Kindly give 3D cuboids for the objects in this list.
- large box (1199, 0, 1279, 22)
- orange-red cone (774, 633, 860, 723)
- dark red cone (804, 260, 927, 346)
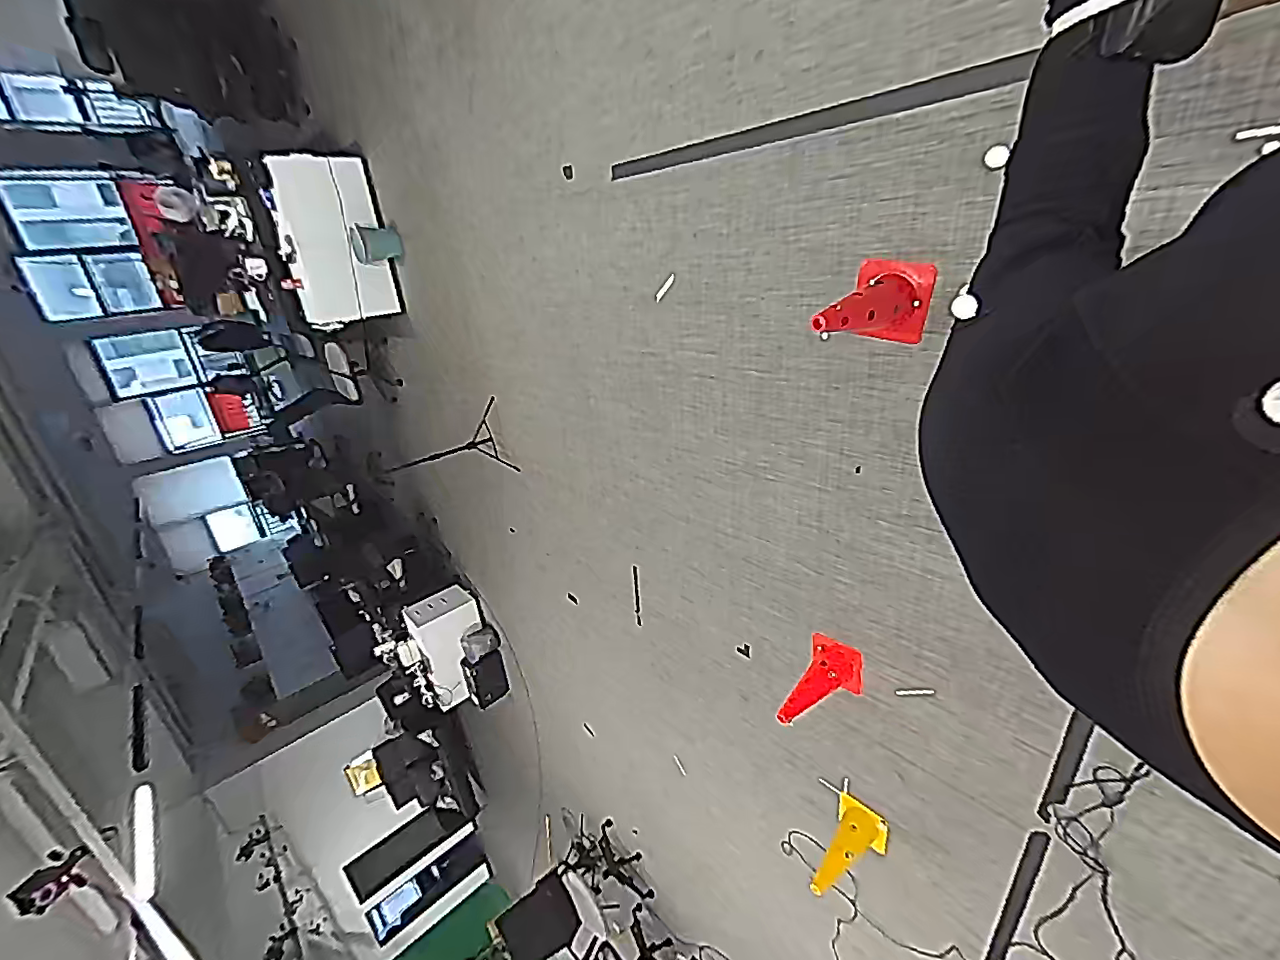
[{"bbox_3d":[0.549,-0.464,0.224,0.408,0.320,0.320,19,128,44],"label":"large box"},{"bbox_3d":[0.598,0.742,1.916,0.198,0.360,0.199,19,125,47],"label":"orange-red cone"},{"bbox_3d":[0.520,-0.413,1.323,0.201,0.394,0.202,26,129,40],"label":"dark red cone"}]
